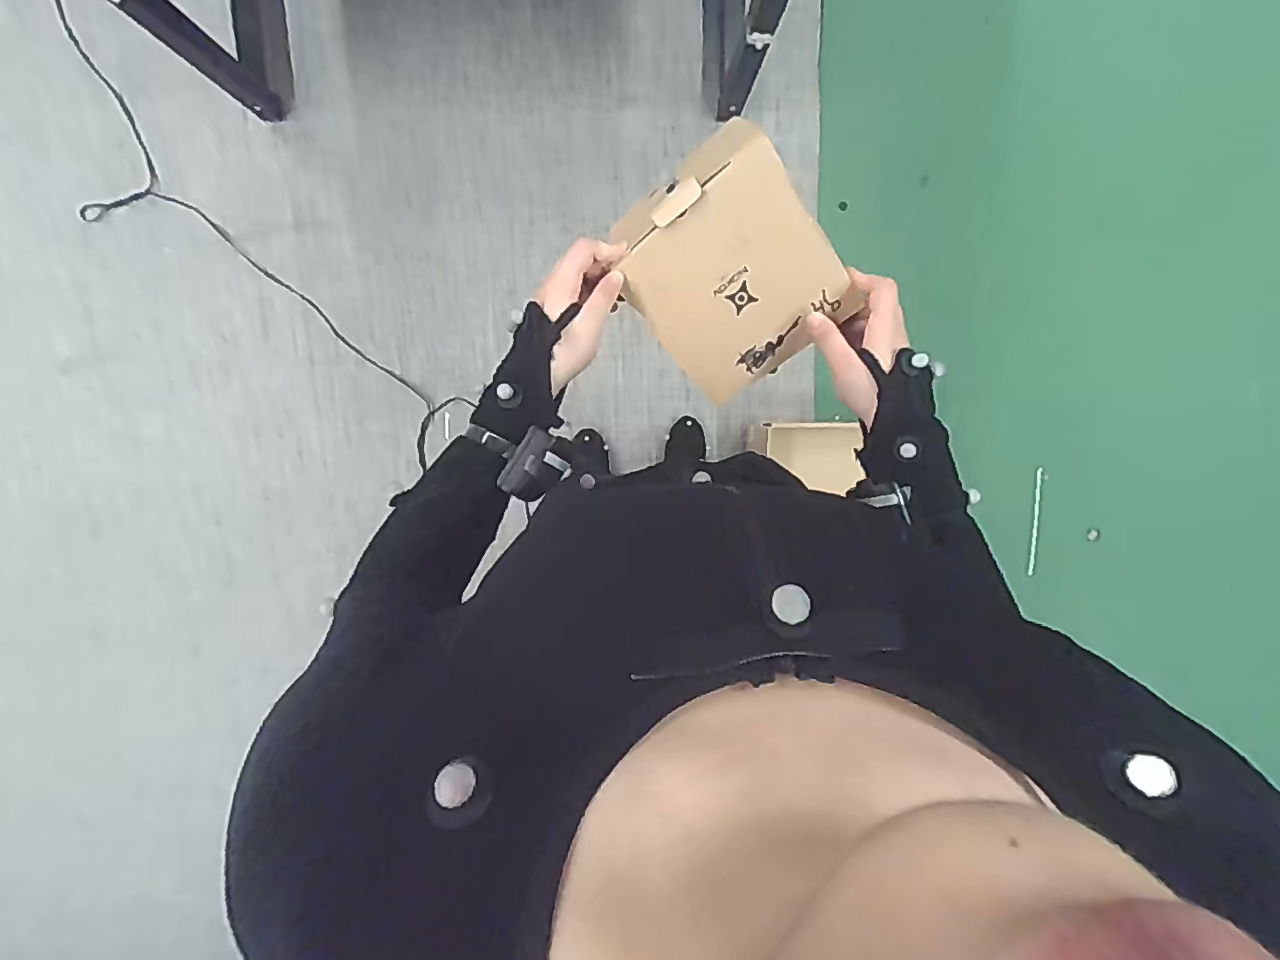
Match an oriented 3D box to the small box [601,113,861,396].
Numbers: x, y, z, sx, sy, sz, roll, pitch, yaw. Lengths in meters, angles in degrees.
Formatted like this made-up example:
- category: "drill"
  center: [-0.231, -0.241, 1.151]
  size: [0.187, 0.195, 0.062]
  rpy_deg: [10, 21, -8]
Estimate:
- category: "small box"
  center: [0.080, -0.223, 0.533]
  size: [0.168, 0.176, 0.179]
  rpy_deg: [-33, 121, 23]
